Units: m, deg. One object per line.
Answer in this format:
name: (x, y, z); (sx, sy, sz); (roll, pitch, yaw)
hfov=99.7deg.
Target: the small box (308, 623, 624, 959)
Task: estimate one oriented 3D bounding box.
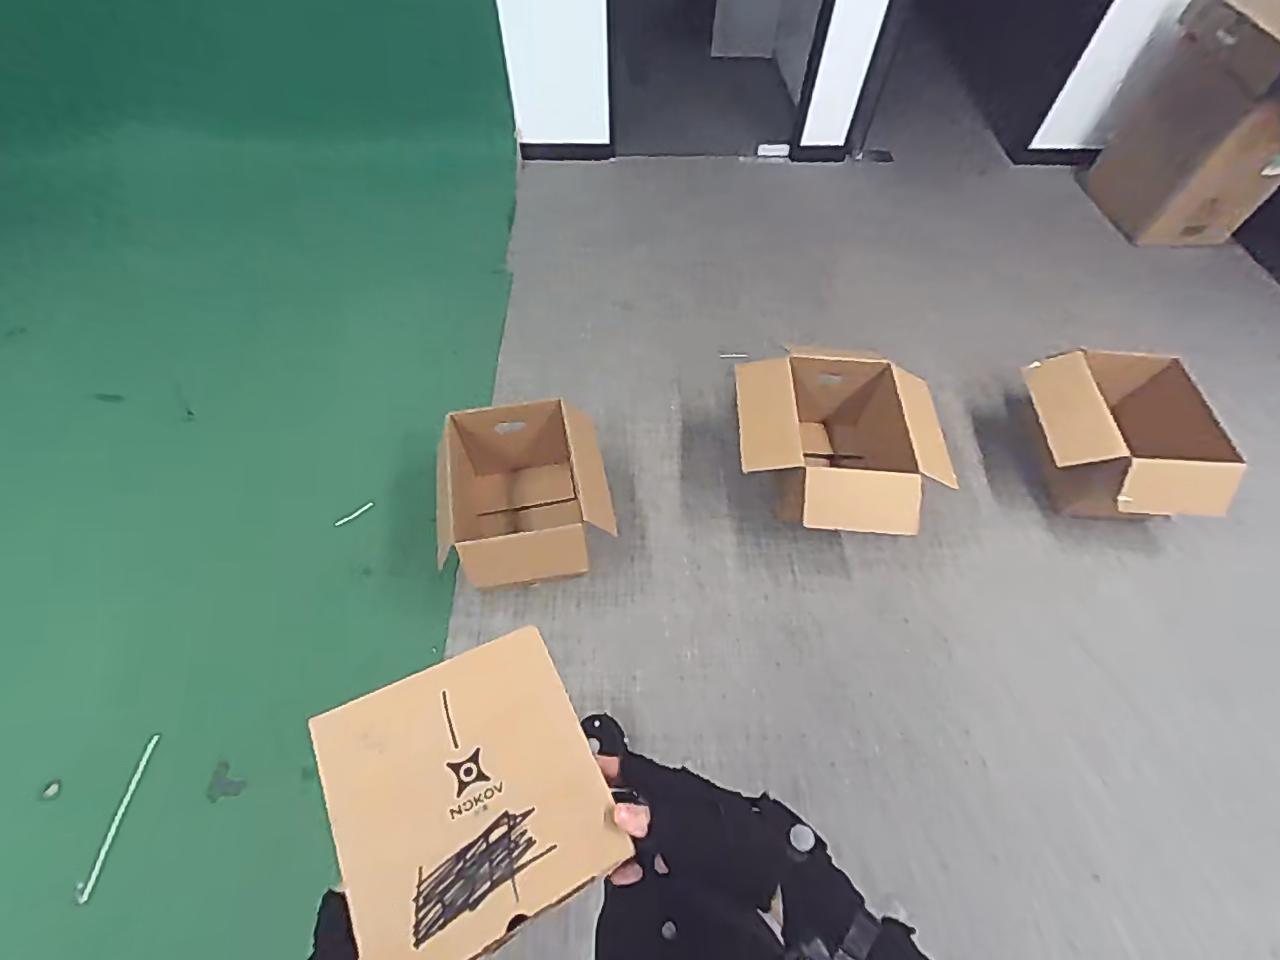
small box: (-0.132, 0.248, 0.429); (0.168, 0.176, 0.179); (-19, 62, -25)
